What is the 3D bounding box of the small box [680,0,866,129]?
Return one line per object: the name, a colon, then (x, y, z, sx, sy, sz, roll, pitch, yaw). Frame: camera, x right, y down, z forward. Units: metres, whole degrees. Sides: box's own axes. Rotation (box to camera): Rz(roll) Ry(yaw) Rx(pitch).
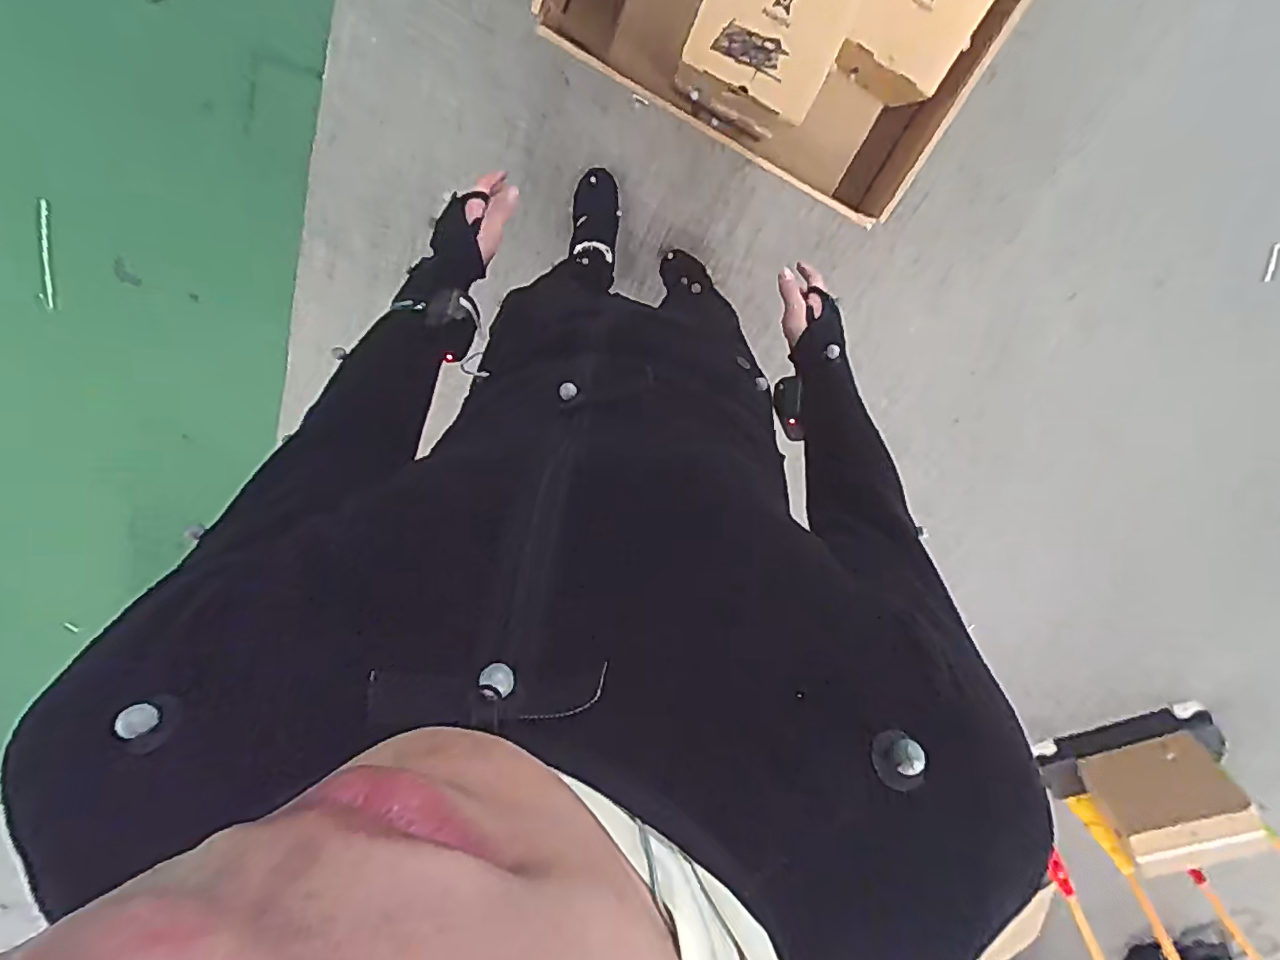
small box: (0.160, -0.566, 0.670, 0.168, 0.176, 0.179, 23, 118, -11)
